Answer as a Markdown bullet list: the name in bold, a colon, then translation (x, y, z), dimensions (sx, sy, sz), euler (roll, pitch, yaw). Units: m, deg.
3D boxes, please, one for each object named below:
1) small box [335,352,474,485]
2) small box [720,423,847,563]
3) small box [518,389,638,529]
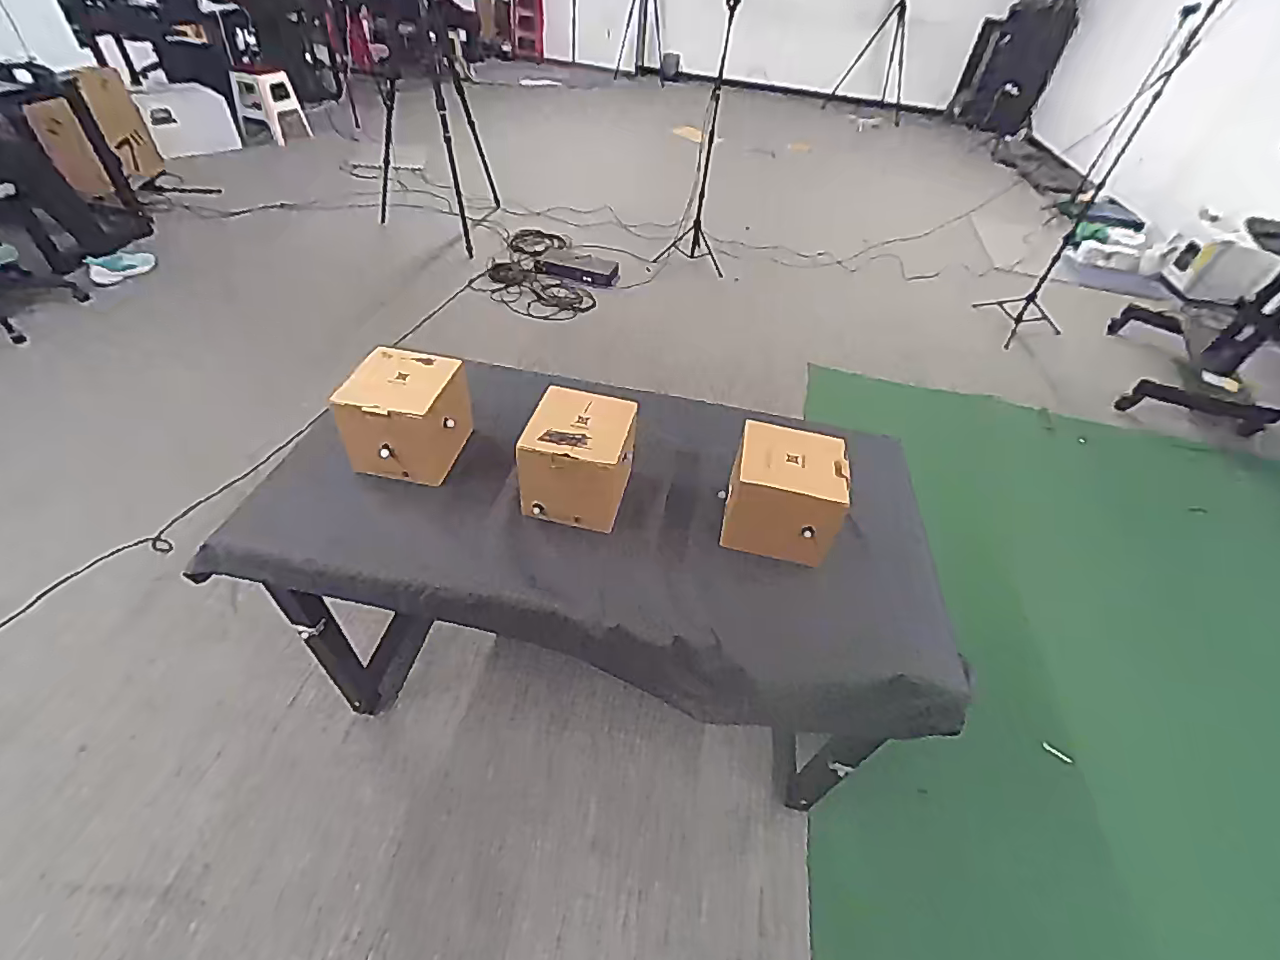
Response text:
- **small box**: translation (-0.425, -0.113, 1.015), dimensions (0.168, 0.176, 0.179), euler (10, 46, 3)
- **small box**: translation (0.249, 0.026, 0.958), dimensions (0.179, 0.176, 0.168), euler (10, 44, 6)
- **small box**: translation (-0.106, -0.035, 0.975), dimensions (0.168, 0.176, 0.179), euler (12, 44, 5)
